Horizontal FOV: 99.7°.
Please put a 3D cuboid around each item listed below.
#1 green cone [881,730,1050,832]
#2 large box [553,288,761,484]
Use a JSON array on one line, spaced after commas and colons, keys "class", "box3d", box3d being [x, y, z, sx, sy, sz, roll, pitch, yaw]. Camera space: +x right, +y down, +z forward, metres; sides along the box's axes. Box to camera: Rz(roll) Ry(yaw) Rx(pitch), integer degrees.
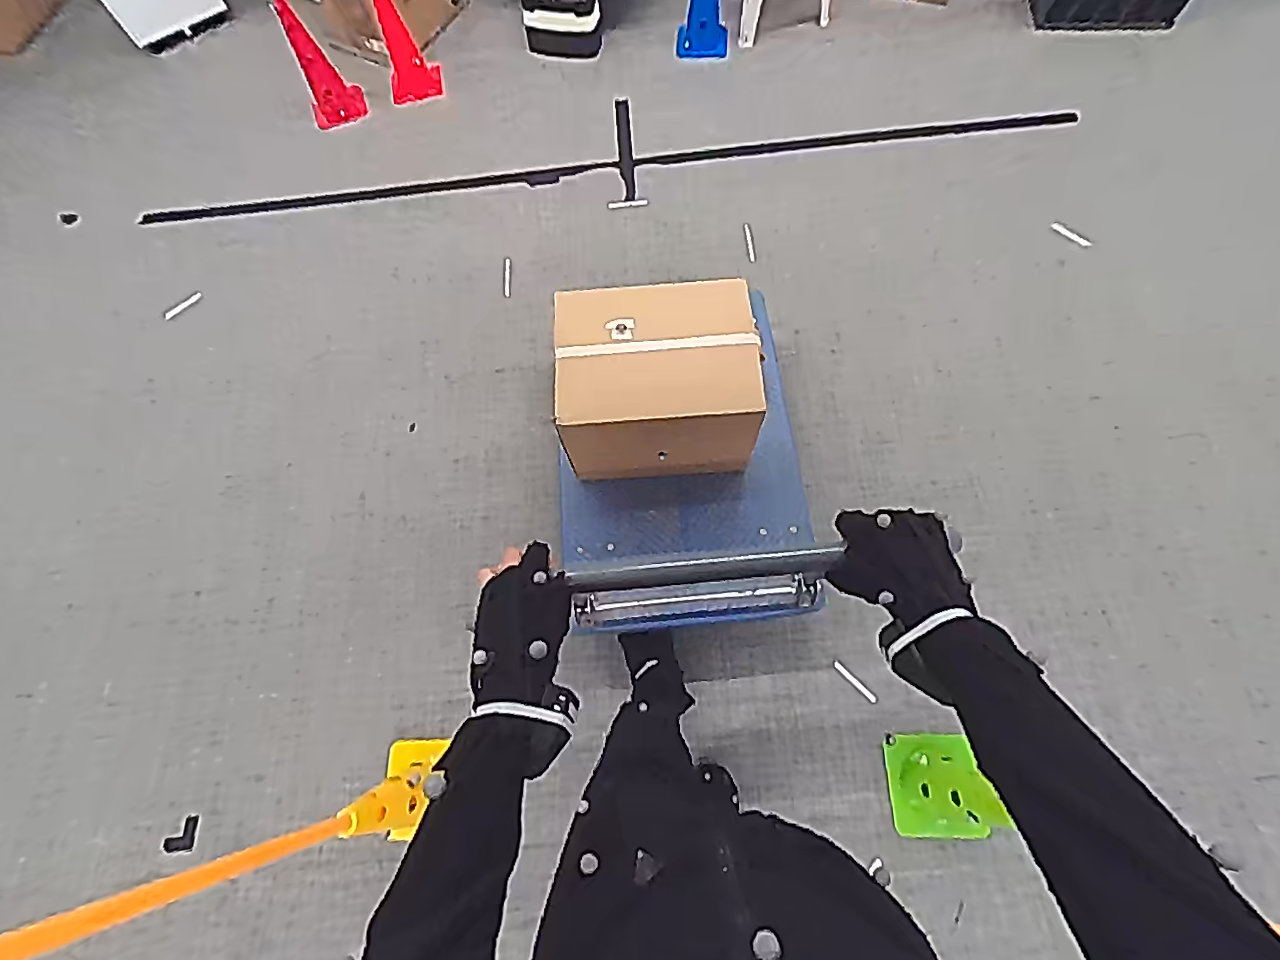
[{"class": "green cone", "box3d": [0.643, 0.603, 1.038, 0.202, 0.368, 0.200, -1, 69, 1]}, {"class": "large box", "box3d": [0.035, -0.193, 1.228, 0.408, 0.320, 0.320, -4, 70, 2]}]
